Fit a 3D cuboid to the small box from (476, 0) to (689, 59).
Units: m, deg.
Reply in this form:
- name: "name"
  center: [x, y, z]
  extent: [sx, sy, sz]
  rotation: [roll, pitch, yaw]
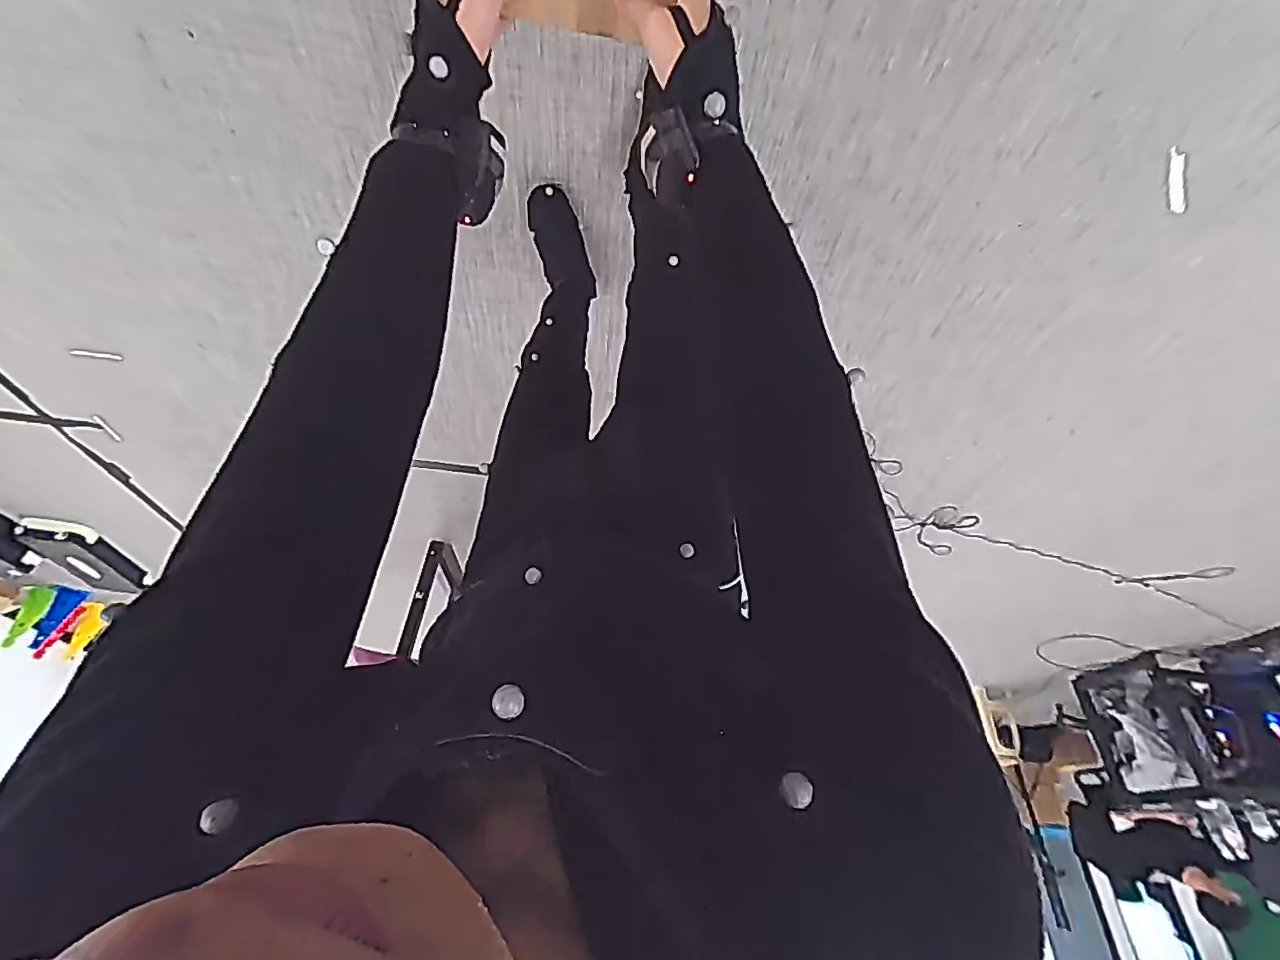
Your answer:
- name: "small box"
  center: [-0.037, -0.491, 0.443]
  extent: [0.179, 0.176, 0.168]
  rotation: [7, 147, -7]
